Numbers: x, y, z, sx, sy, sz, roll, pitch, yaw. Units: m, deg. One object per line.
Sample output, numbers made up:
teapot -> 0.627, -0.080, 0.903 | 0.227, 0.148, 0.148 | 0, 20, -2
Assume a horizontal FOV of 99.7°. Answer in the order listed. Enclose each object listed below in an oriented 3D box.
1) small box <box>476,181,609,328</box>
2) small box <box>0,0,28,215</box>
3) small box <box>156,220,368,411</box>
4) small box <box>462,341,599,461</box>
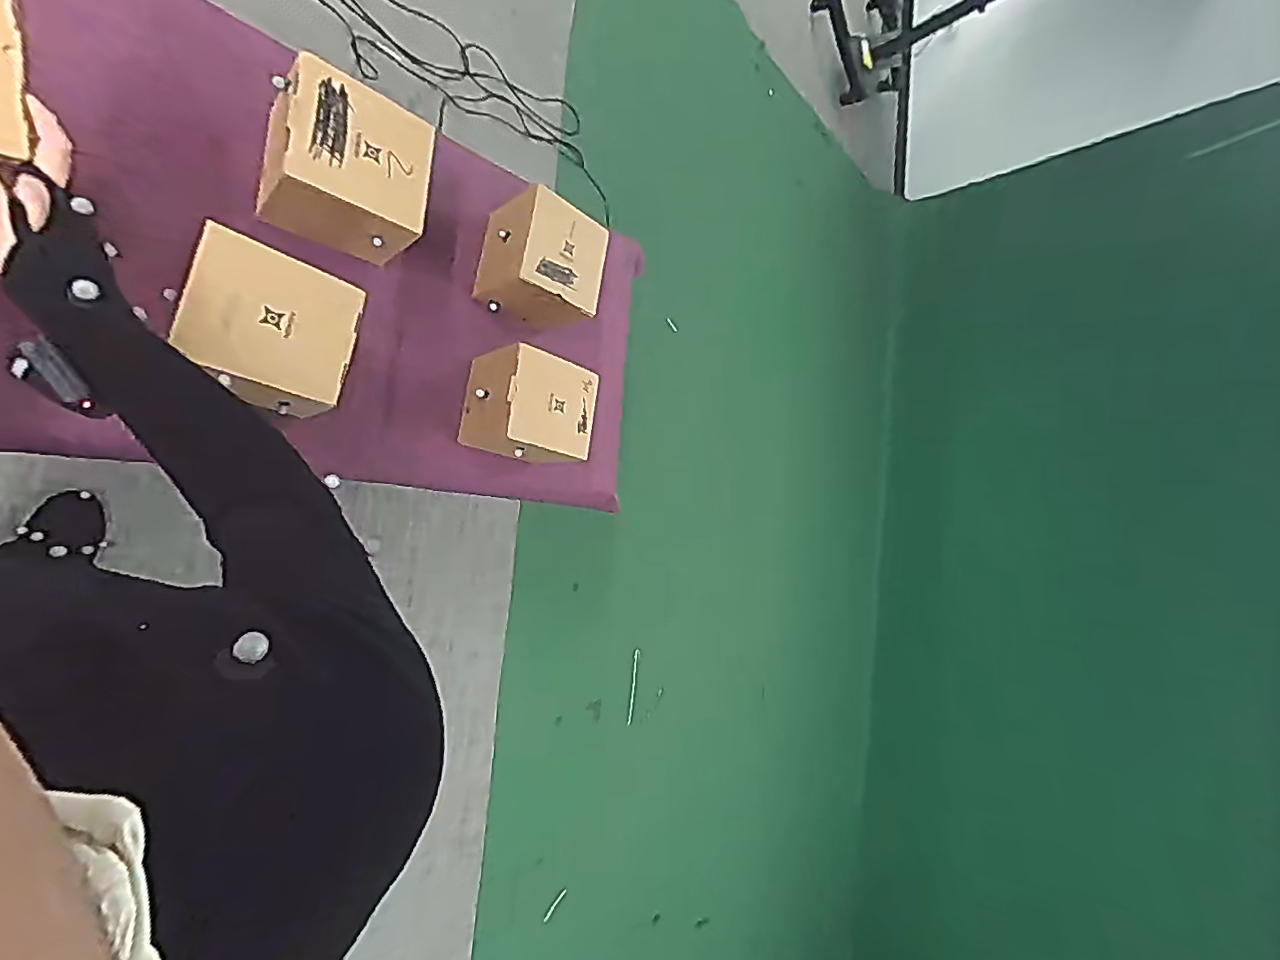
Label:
small box -> -0.184, -0.403, 1.007 | 0.168, 0.176, 0.179 | 17, 78, -44
small box -> -0.601, -0.322, 0.404 | 0.179, 0.176, 0.168 | -6, 95, -52
small box -> -0.492, -0.195, 0.706 | 0.179, 0.176, 0.168 | 20, 76, -42
small box -> -0.203, -0.132, 0.991 | 0.179, 0.176, 0.168 | 15, 79, -43
